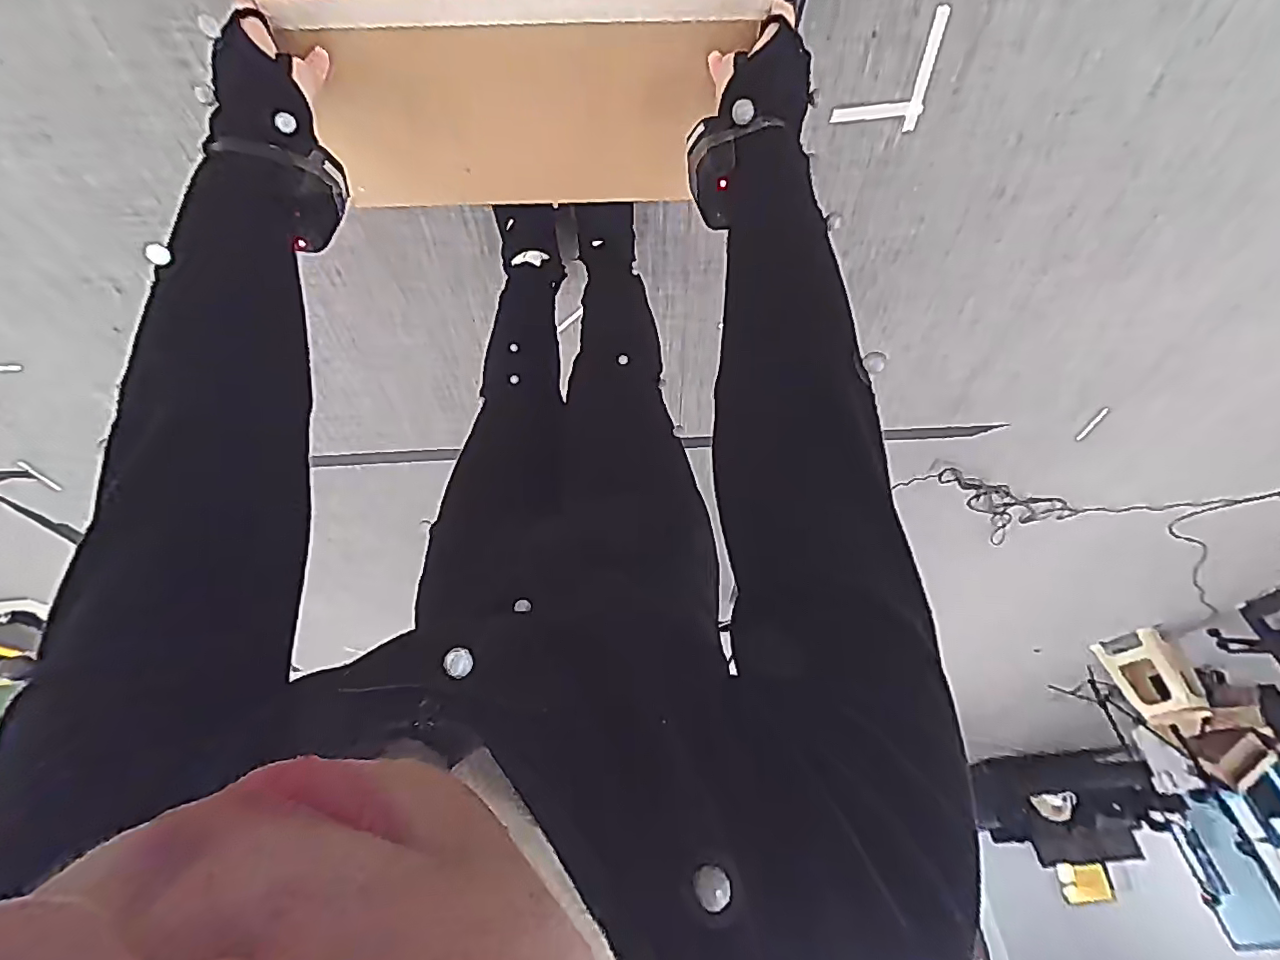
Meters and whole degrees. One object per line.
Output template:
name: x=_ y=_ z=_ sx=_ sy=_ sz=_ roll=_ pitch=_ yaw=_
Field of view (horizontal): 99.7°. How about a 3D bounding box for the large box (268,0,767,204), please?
large box: x=-0.098 y=-0.499 z=0.518 sx=0.408 sy=0.320 sz=0.320 roll=-2 pitch=142 yaw=-1
